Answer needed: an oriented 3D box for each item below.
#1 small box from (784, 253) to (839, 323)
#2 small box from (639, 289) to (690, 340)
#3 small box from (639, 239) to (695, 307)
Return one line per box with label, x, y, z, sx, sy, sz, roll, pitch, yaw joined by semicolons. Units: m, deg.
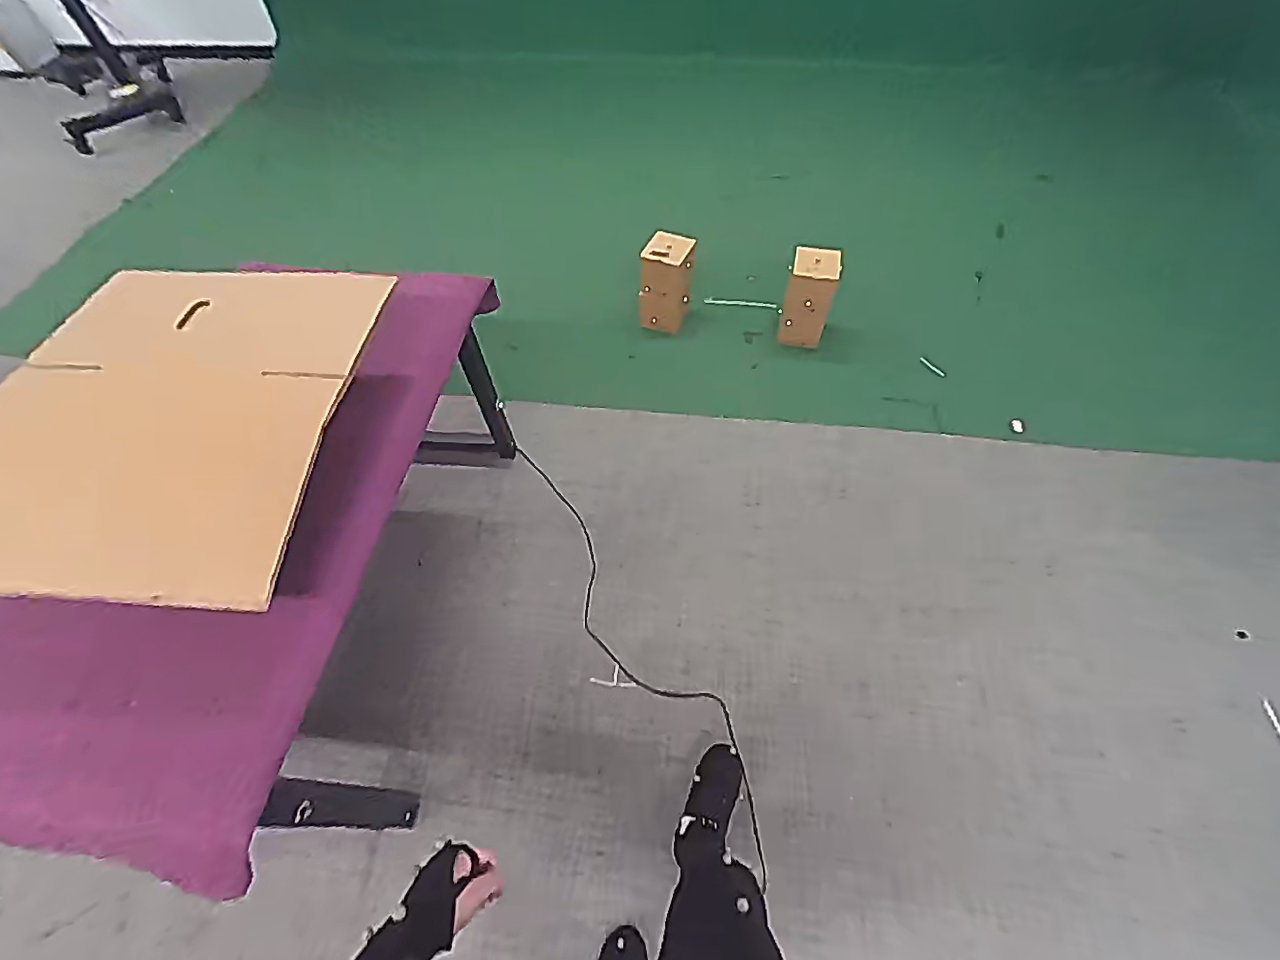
small box;0.651;-0.731;2.060;0.168;0.176;0.179;11;58;9
small box;0.103;-0.722;2.275;0.168;0.176;0.179;18;60;13
small box;0.108;-0.817;2.141;0.168;0.176;0.179;21;59;14
